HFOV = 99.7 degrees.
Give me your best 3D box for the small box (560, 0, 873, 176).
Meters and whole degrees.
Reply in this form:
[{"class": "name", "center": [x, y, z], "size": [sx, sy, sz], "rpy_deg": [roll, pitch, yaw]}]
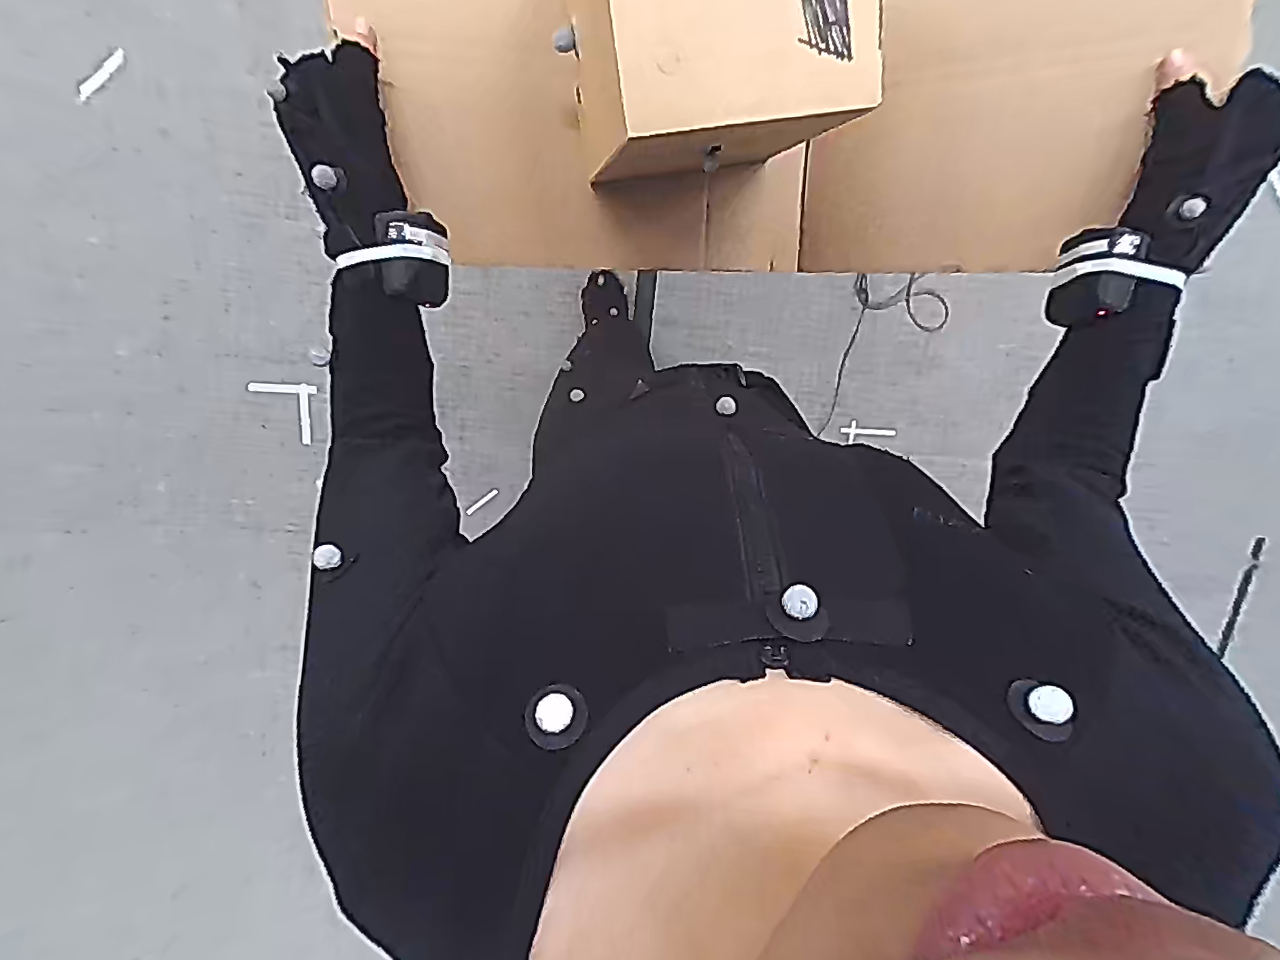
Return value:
[{"class": "small box", "center": [0.044, -0.336, 0.396], "size": [0.179, 0.176, 0.168], "rpy_deg": [-13, 112, -9]}]
